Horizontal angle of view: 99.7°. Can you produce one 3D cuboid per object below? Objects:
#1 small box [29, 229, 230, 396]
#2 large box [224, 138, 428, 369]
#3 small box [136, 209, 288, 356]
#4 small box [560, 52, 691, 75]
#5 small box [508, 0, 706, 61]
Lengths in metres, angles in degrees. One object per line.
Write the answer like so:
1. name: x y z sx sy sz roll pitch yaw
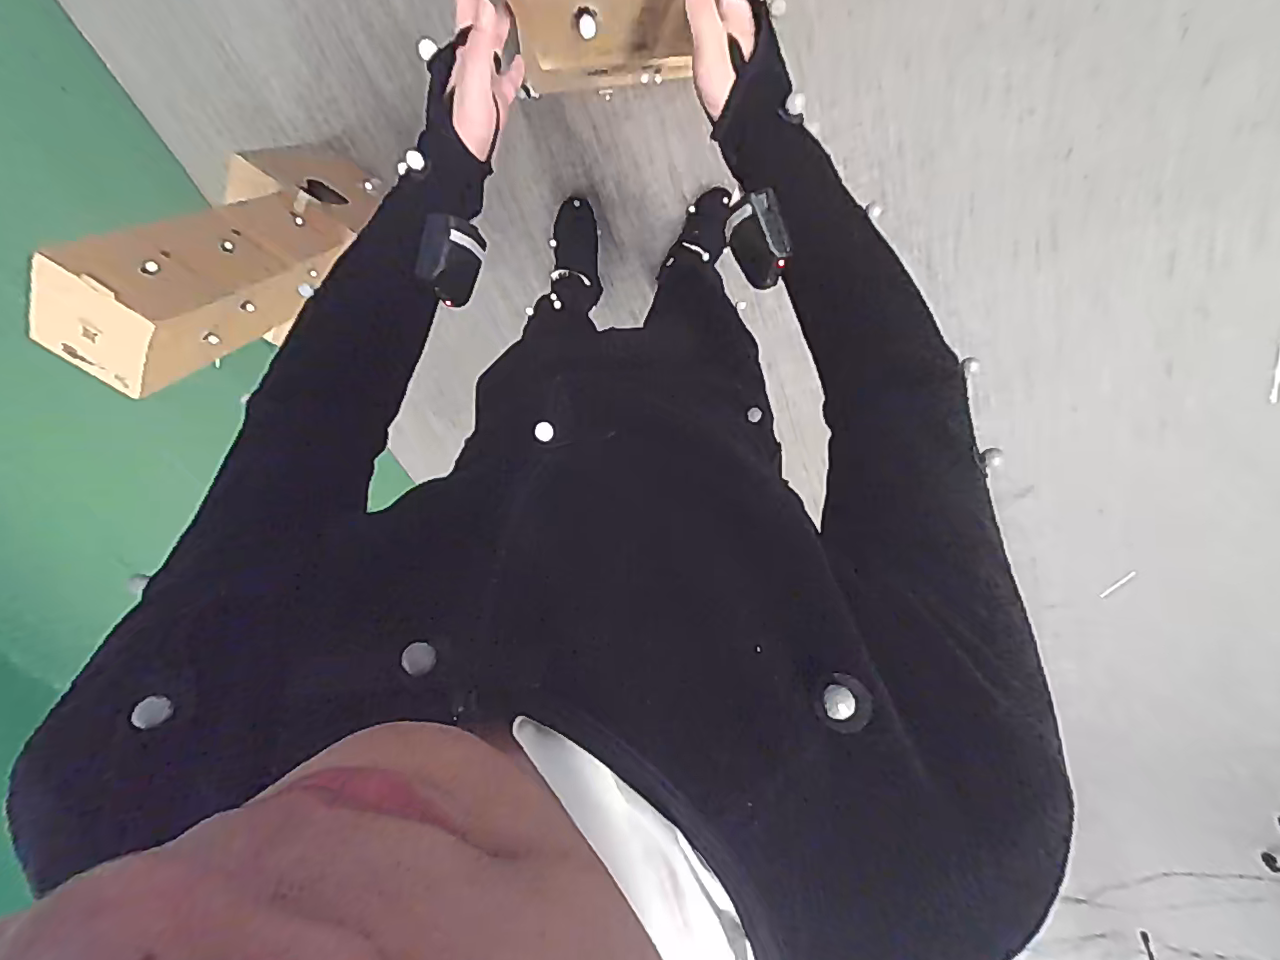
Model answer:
1. small box: -0.823 -0.280 0.886 0.168 0.176 0.179 37 122 -17
2. large box: -0.805 -0.577 1.383 0.320 0.320 0.408 33 125 -13
3. small box: -0.806 -0.376 1.018 0.168 0.176 0.179 36 123 -17
4. small box: -0.018 -0.645 0.705 0.168 0.176 0.179 1 126 8
5. small box: -0.029 -0.475 0.439 0.168 0.176 0.179 -2 104 4
